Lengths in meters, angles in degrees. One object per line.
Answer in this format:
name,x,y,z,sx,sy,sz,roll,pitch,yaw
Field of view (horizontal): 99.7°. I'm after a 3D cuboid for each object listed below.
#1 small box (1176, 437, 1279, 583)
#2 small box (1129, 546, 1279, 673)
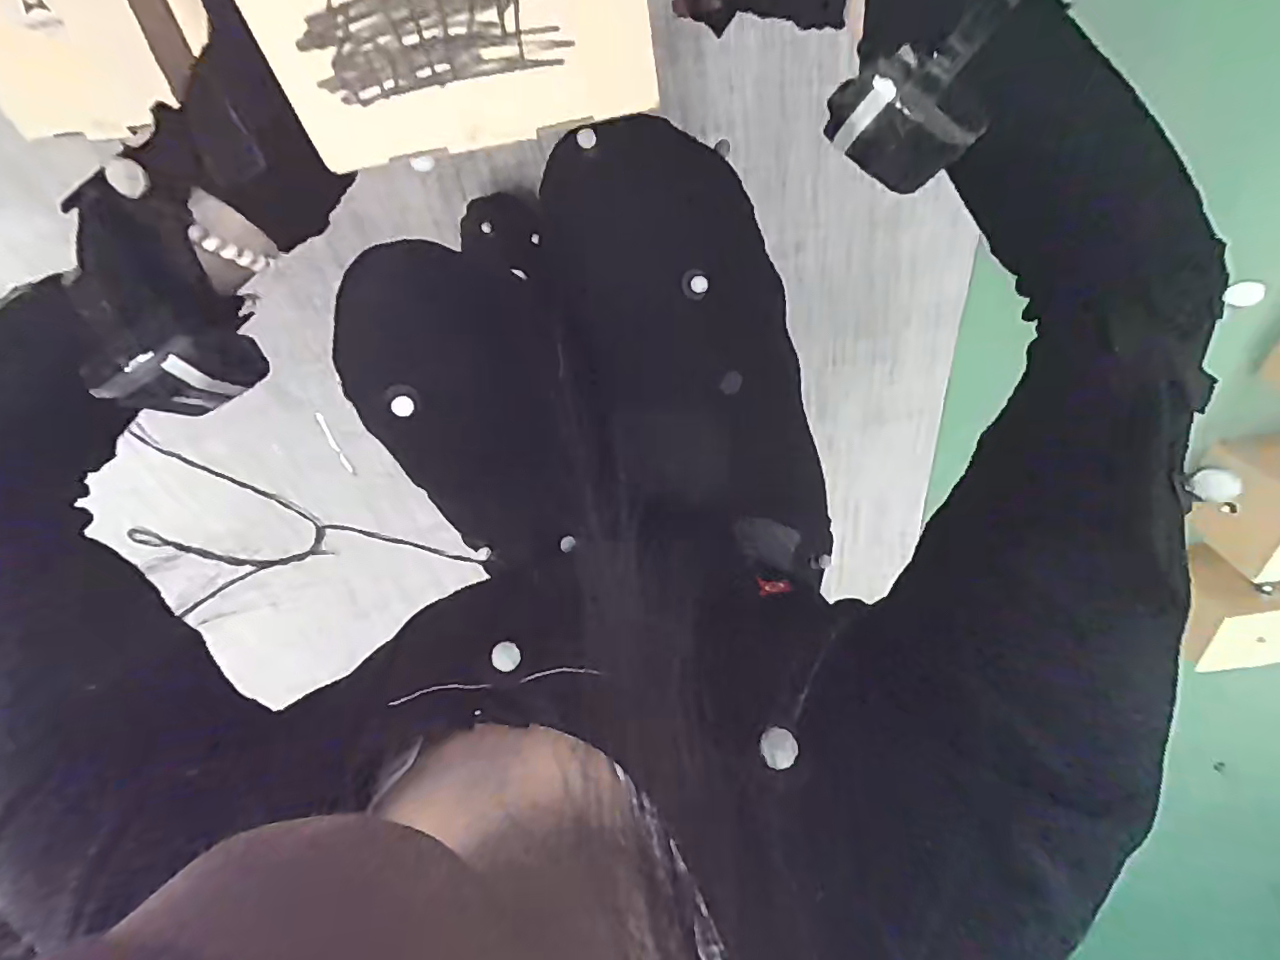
small box,1.047,0.041,0.875,0.179,0.176,0.168,-9,127,6
small box,1.097,0.235,1.021,0.179,0.176,0.168,-11,125,8
